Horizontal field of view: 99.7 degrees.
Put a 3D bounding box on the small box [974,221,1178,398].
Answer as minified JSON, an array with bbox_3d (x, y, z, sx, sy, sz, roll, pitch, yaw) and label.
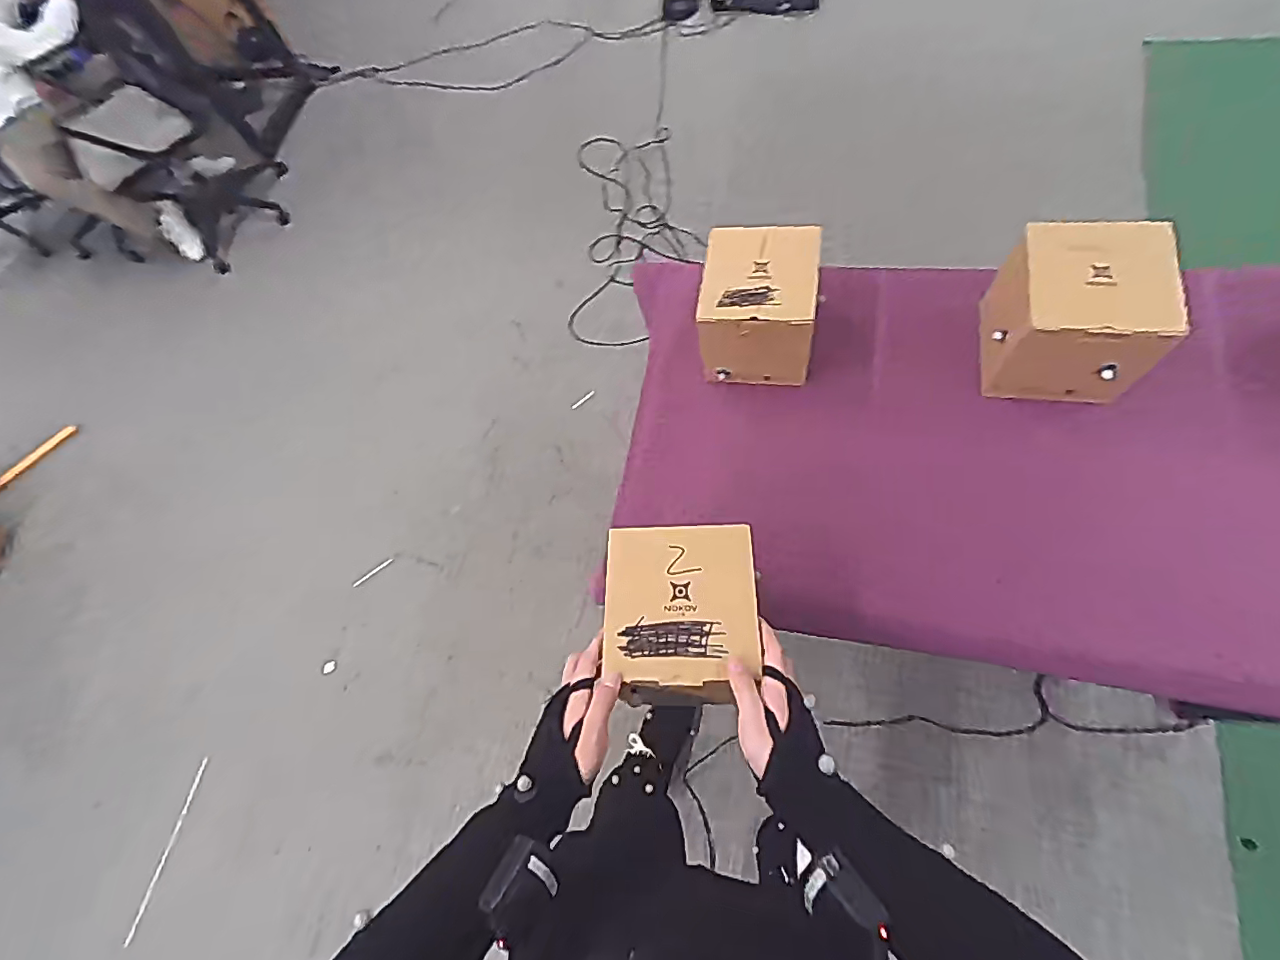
[{"bbox_3d":[0.588,-0.230,0.757,0.168,0.176,0.179,6,69,15],"label":"small box"}]

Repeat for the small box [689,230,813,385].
[{"bbox_3d":[0.180,-0.267,0.862,0.168,0.176,0.179,5,68,14],"label":"small box"}]
